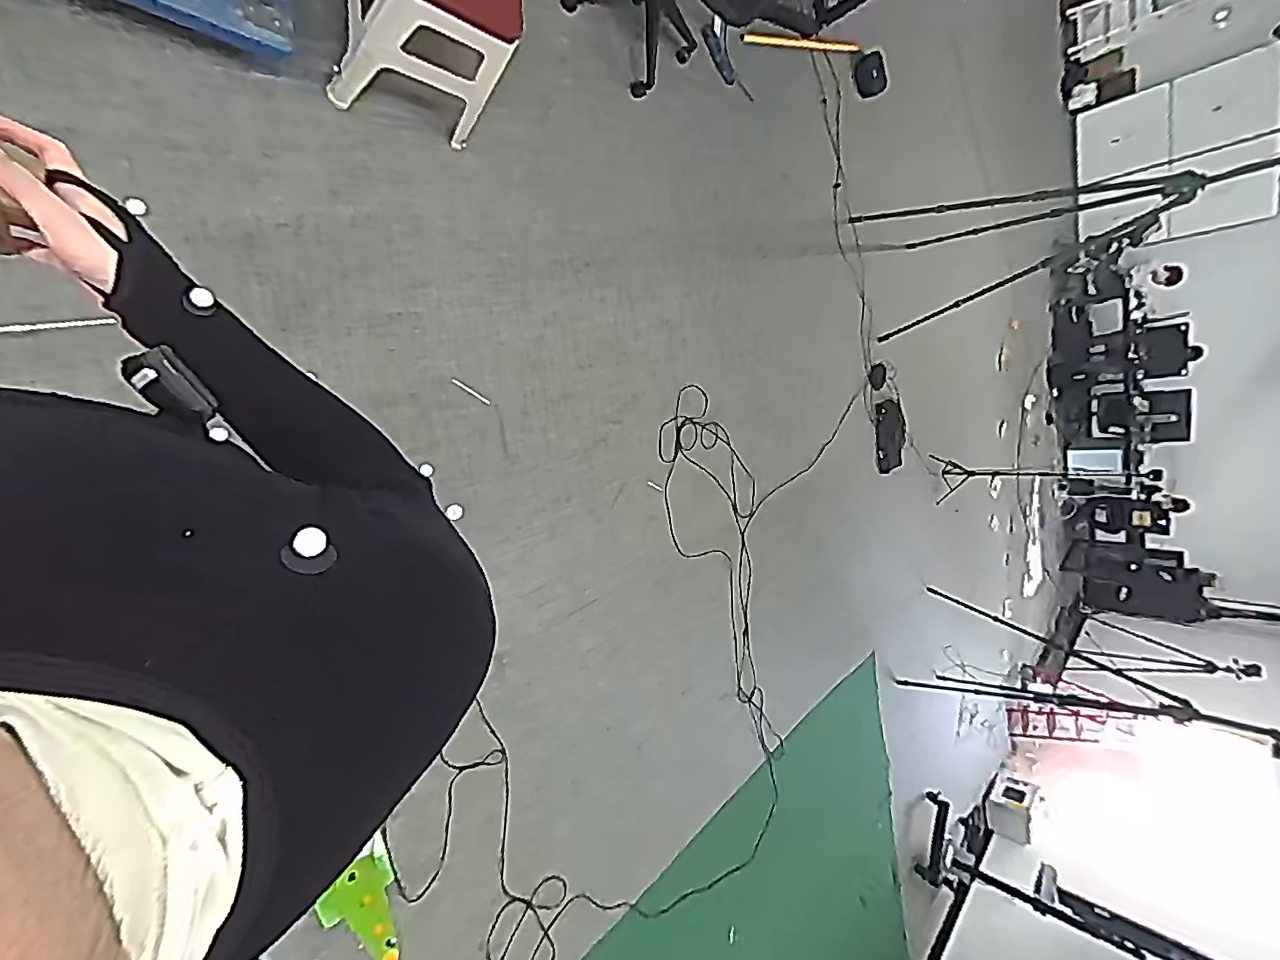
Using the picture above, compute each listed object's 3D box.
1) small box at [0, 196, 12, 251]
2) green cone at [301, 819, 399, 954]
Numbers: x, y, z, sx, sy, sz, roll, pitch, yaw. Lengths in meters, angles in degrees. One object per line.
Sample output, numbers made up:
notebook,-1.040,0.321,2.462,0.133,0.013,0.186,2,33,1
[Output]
small box,-0.544,-0.254,0.331,0.168,0.176,0.179,-17,105,-40
green cone,-0.727,1.123,1.433,0.202,0.368,0.200,-23,108,-40
